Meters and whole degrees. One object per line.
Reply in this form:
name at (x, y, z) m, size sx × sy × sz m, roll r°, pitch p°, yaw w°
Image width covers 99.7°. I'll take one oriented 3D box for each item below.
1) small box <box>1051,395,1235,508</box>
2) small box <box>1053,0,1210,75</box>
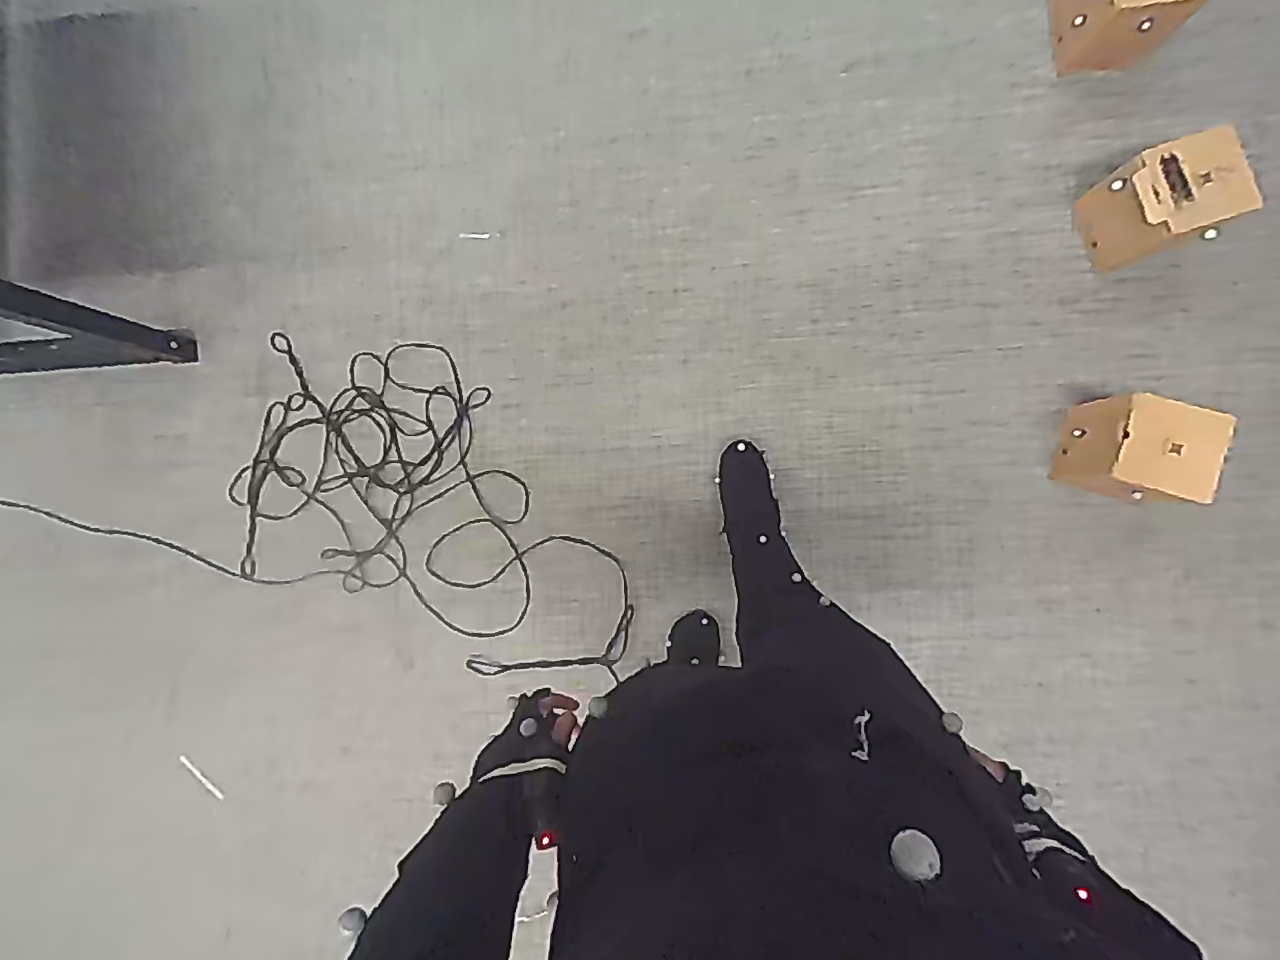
small box at (0.957, -0.051, 1.046) m, size 0.179 × 0.176 × 0.168 m, roll 17°, pitch 90°, yaw 5°
small box at (0.961, -0.948, 1.074) m, size 0.179 × 0.176 × 0.168 m, roll -6°, pitch 89°, yaw 3°
